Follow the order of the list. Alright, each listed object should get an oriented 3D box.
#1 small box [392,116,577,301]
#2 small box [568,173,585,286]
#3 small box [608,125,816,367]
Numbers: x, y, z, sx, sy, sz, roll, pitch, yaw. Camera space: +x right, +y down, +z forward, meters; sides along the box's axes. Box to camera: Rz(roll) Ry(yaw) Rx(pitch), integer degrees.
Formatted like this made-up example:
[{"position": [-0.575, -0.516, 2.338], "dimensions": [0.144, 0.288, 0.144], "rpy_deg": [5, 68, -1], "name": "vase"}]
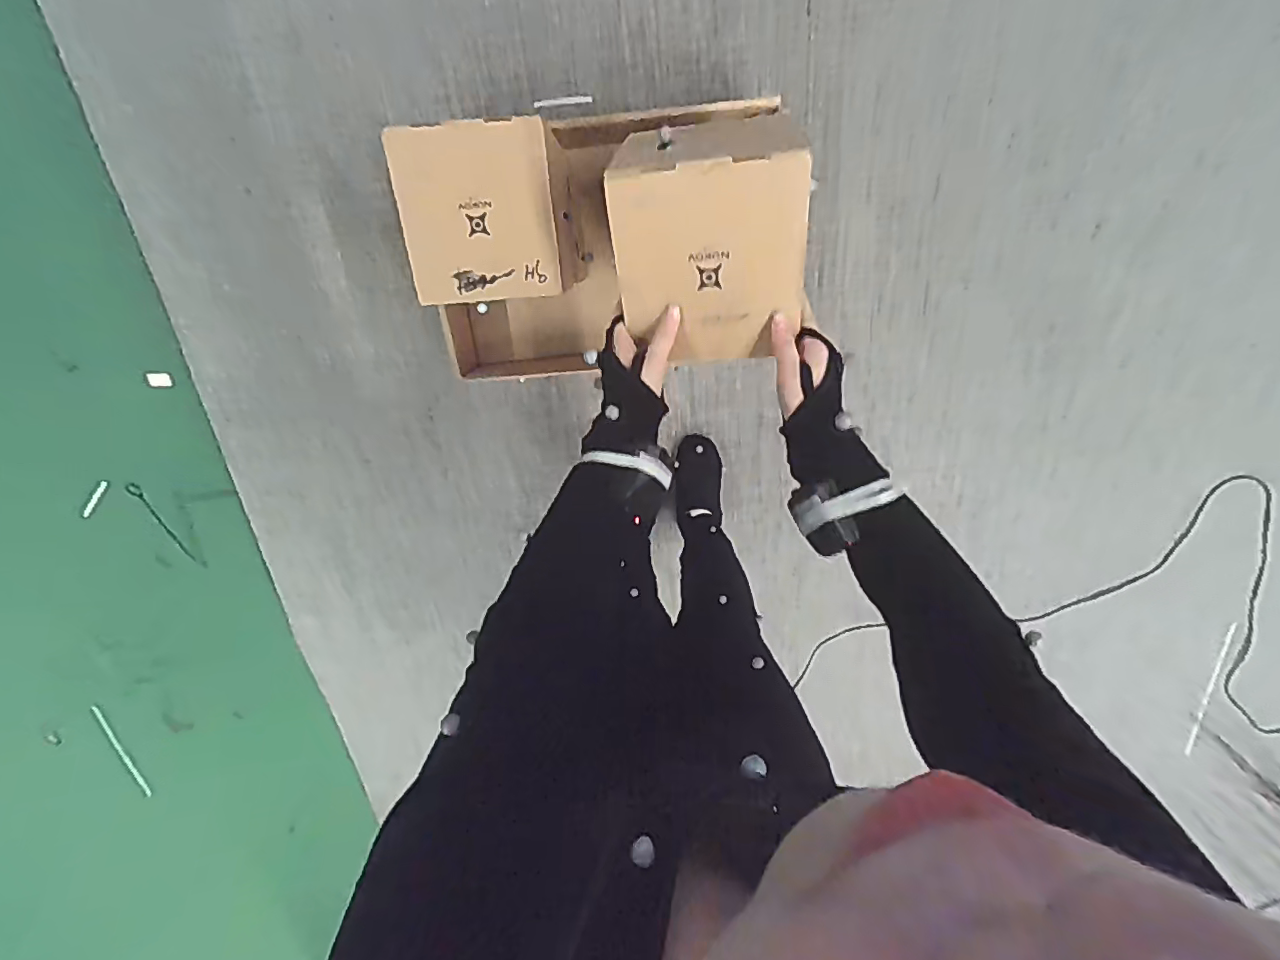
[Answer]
[{"position": [-0.172, -0.317, 0.658], "dimensions": [0.168, 0.176, 0.179], "rpy_deg": [-4, 112, 1], "name": "small box"}, {"position": [-0.190, -0.439, 0.963], "dimensions": [0.168, 0.176, 0.179], "rpy_deg": [-2, 112, -1], "name": "small box"}, {"position": [0.072, -0.233, 0.533], "dimensions": [0.168, 0.176, 0.179], "rpy_deg": [0, 133, 10], "name": "small box"}]
